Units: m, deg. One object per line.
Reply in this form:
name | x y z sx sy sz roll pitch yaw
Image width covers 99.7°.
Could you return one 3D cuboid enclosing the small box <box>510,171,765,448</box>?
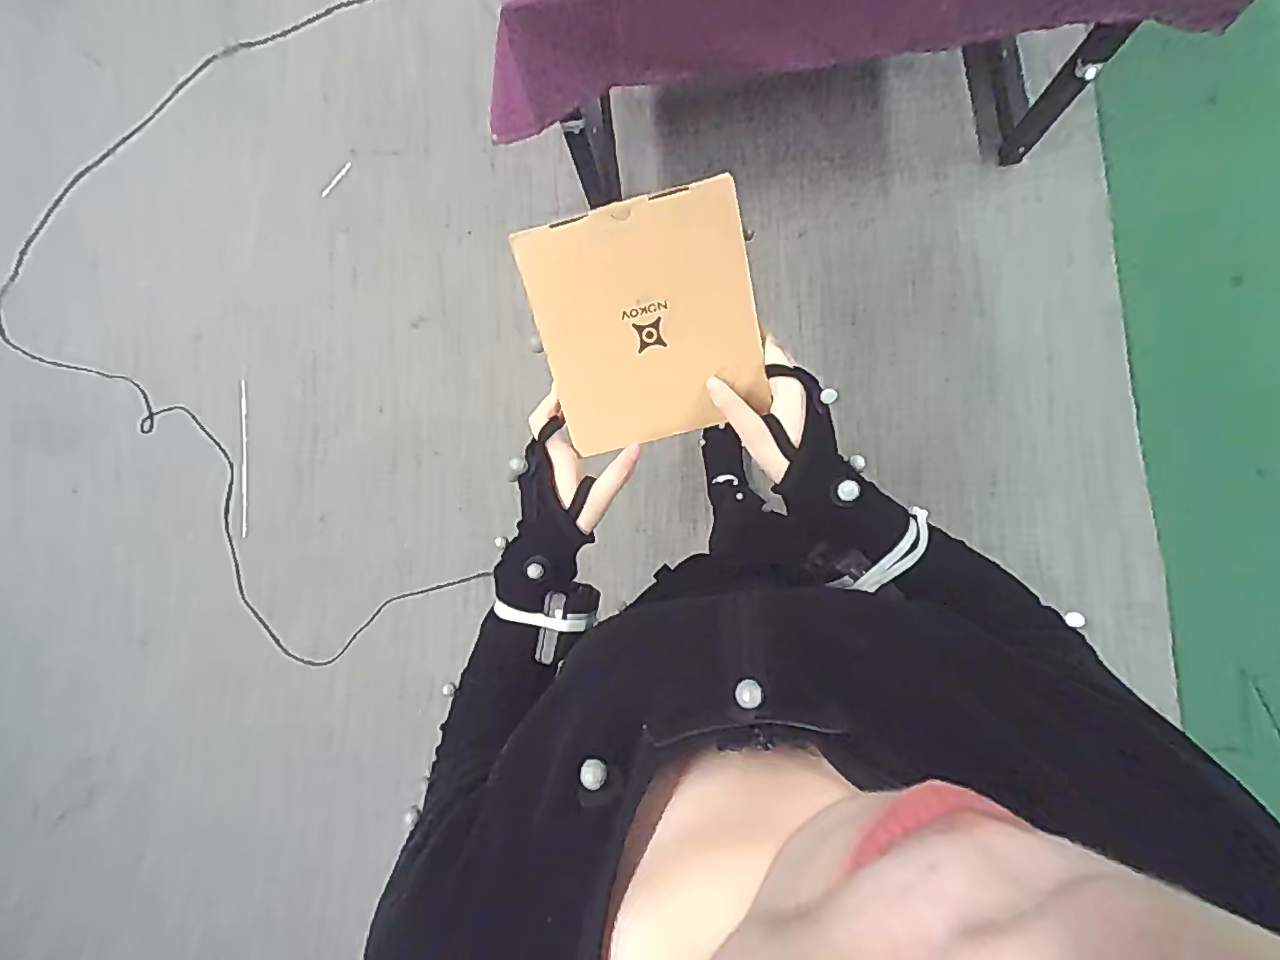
small box | 0.003 -0.151 0.489 0.168 0.176 0.179 -14 110 4
